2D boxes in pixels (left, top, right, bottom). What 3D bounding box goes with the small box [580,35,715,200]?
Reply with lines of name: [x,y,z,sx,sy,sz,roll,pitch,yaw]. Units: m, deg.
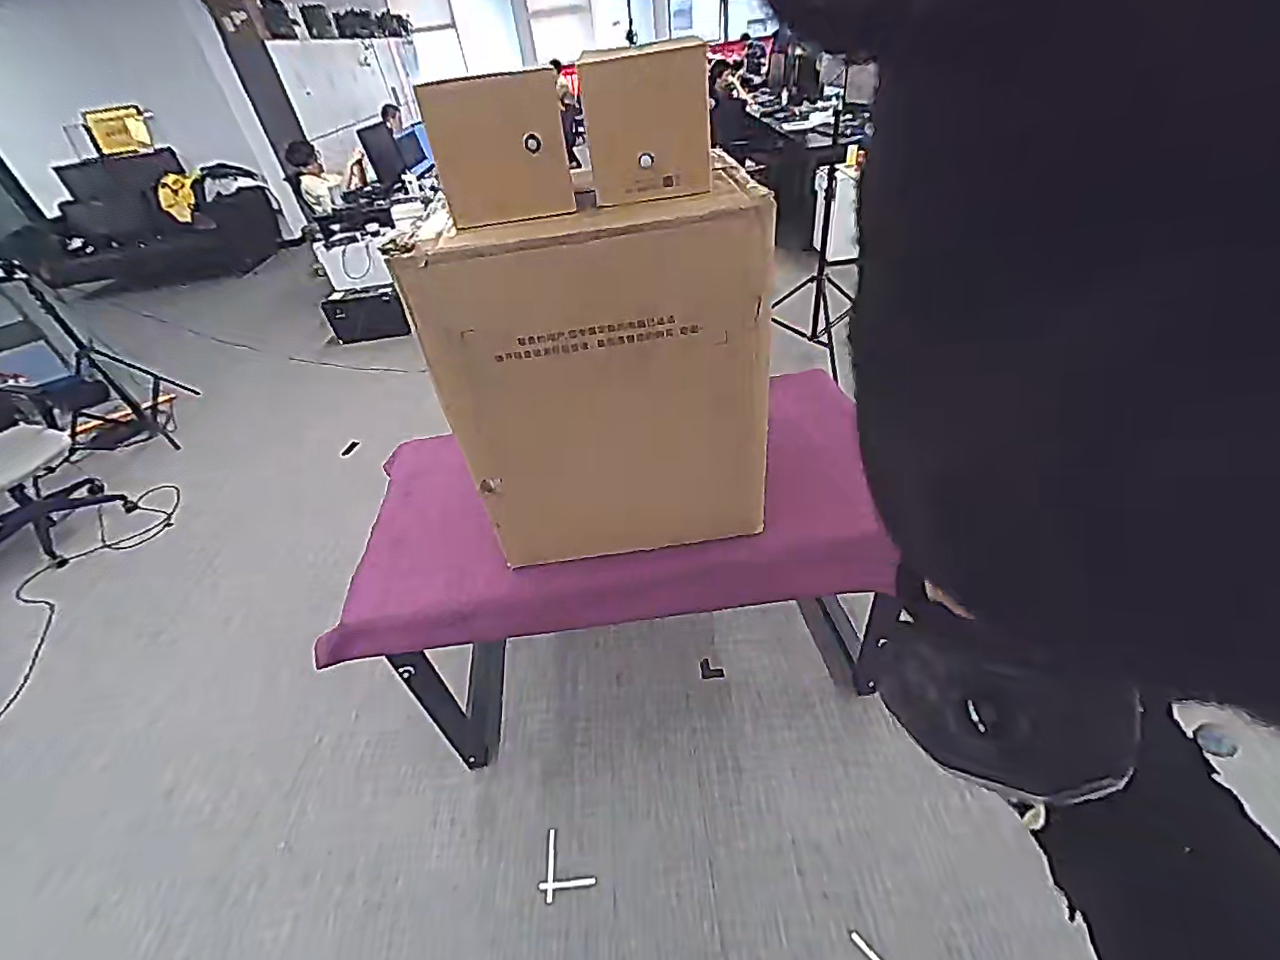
small box: [0.016,-0.518,0.776,0.168,0.176,0.179,-6,40,5]

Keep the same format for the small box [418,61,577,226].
small box: [-0.189,-0.479,0.768,0.179,0.176,0.168,-11,38,-4]
